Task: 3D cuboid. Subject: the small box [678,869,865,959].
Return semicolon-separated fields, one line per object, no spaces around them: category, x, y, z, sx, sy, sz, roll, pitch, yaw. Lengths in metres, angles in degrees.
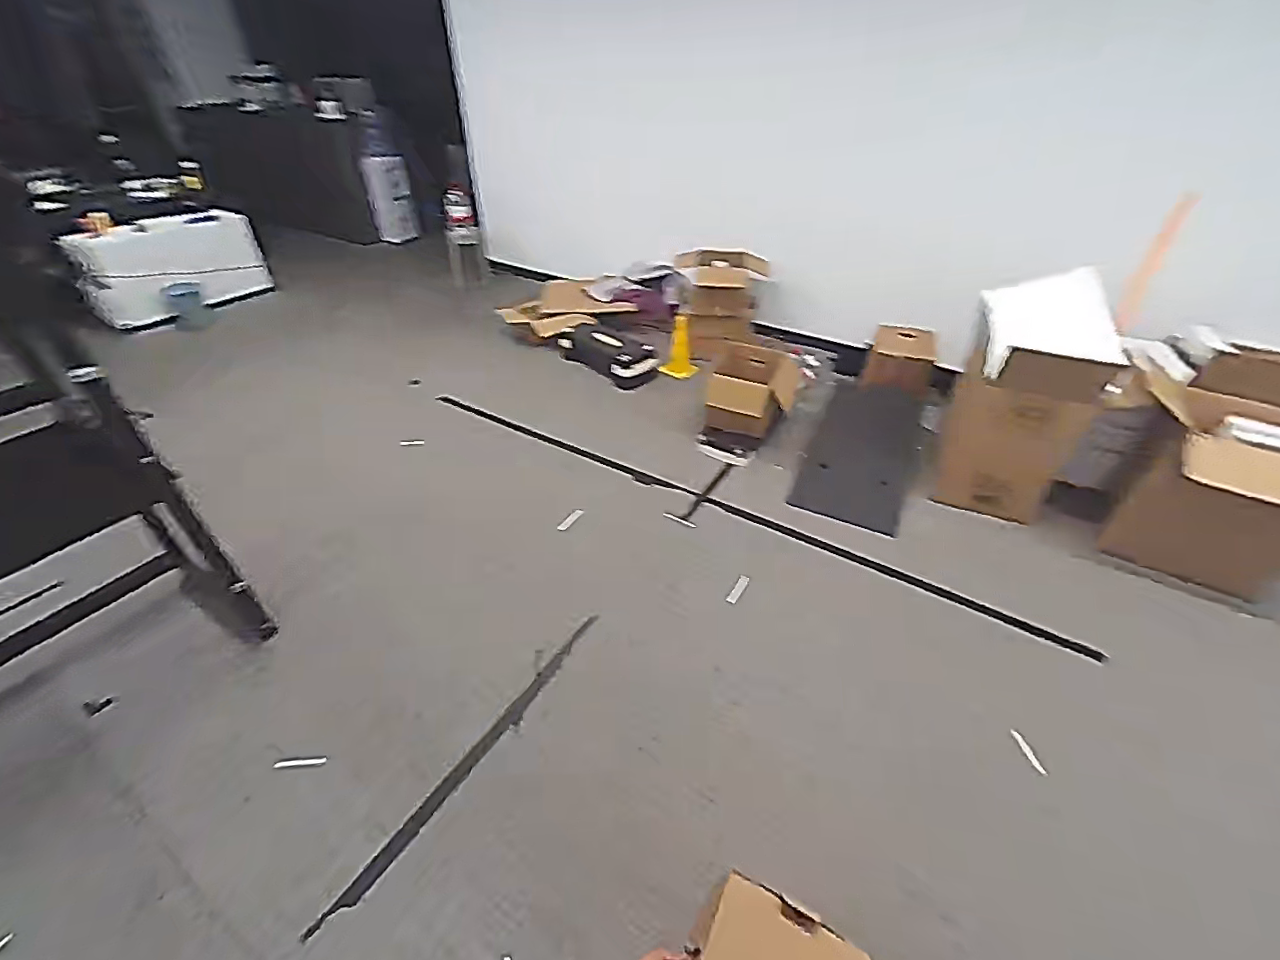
small box;0.119;0.581;0.582;0.168;0.176;0.179;25;39;16
